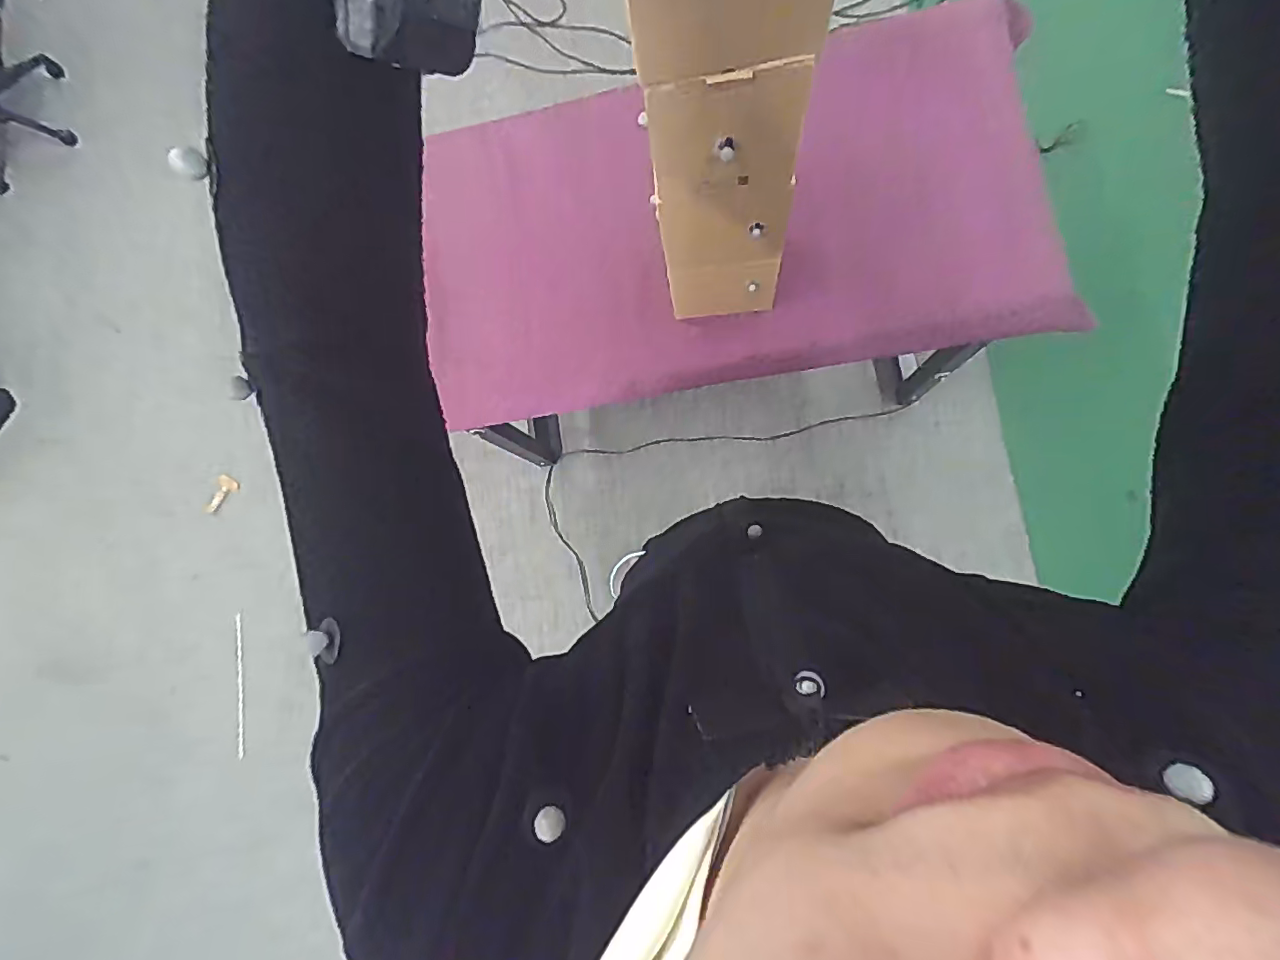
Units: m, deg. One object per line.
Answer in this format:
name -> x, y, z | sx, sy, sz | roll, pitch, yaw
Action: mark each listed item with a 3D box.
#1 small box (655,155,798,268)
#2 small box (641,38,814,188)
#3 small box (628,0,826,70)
small box -> 0.116, -0.423, 0.761 | 0.179, 0.176, 0.168 | -4, 80, 9
small box -> 0.092, -0.455, 0.603 | 0.168, 0.176, 0.179 | -4, 81, 8
small box -> 0.068, -0.483, 0.443 | 0.179, 0.176, 0.168 | -6, 80, 7
